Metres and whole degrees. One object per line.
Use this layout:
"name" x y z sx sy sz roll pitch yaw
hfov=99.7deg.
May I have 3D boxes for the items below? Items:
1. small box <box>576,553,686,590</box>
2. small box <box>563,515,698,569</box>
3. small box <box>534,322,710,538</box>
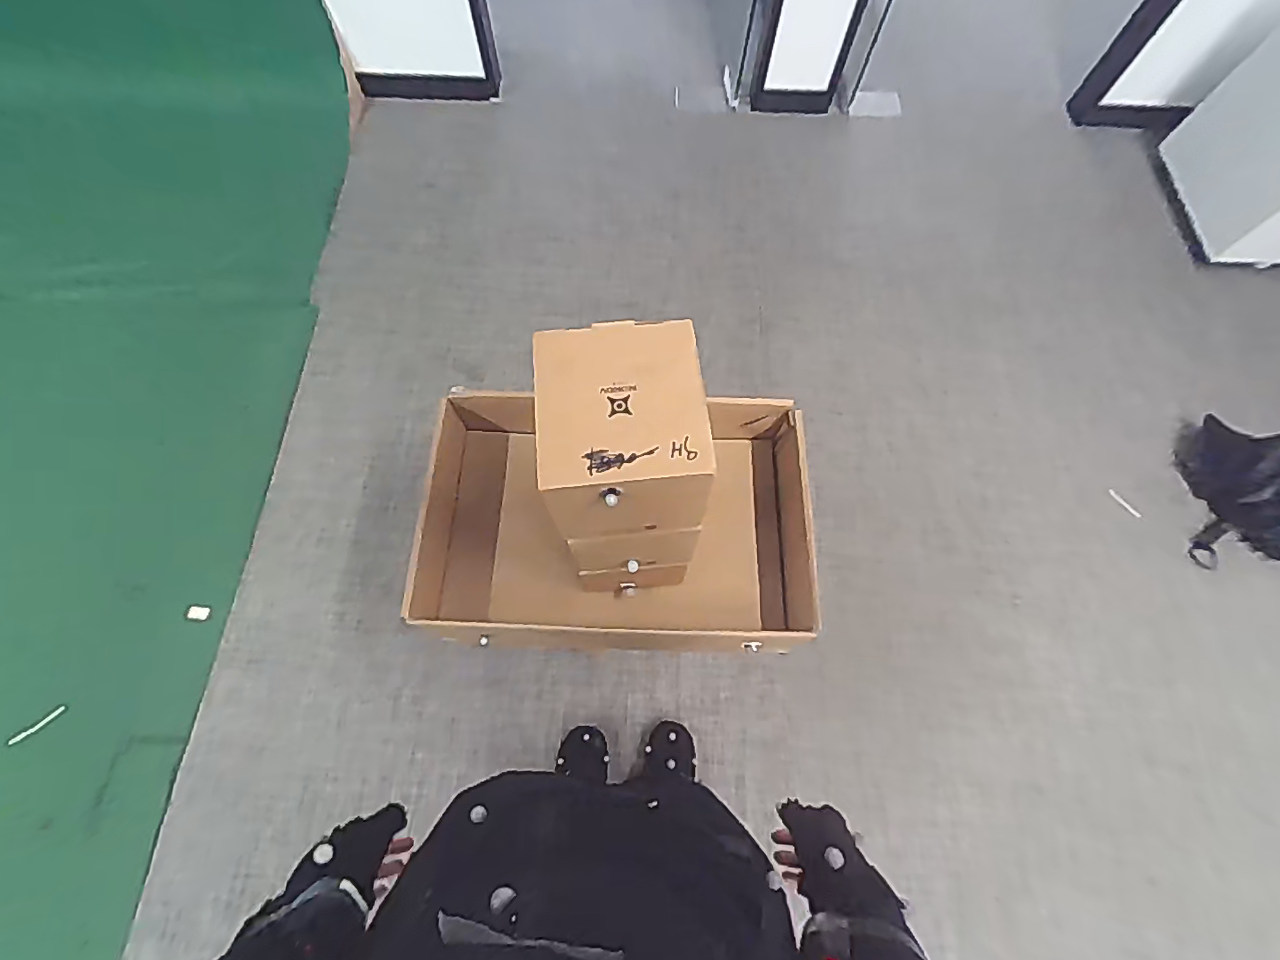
"small box" -0.020 0.078 0.905 0.168 0.176 0.179 -5 69 -2
"small box" -0.017 0.015 0.754 0.168 0.176 0.179 -5 69 -1
"small box" -0.022 -0.049 0.604 0.168 0.176 0.179 -6 67 -1
